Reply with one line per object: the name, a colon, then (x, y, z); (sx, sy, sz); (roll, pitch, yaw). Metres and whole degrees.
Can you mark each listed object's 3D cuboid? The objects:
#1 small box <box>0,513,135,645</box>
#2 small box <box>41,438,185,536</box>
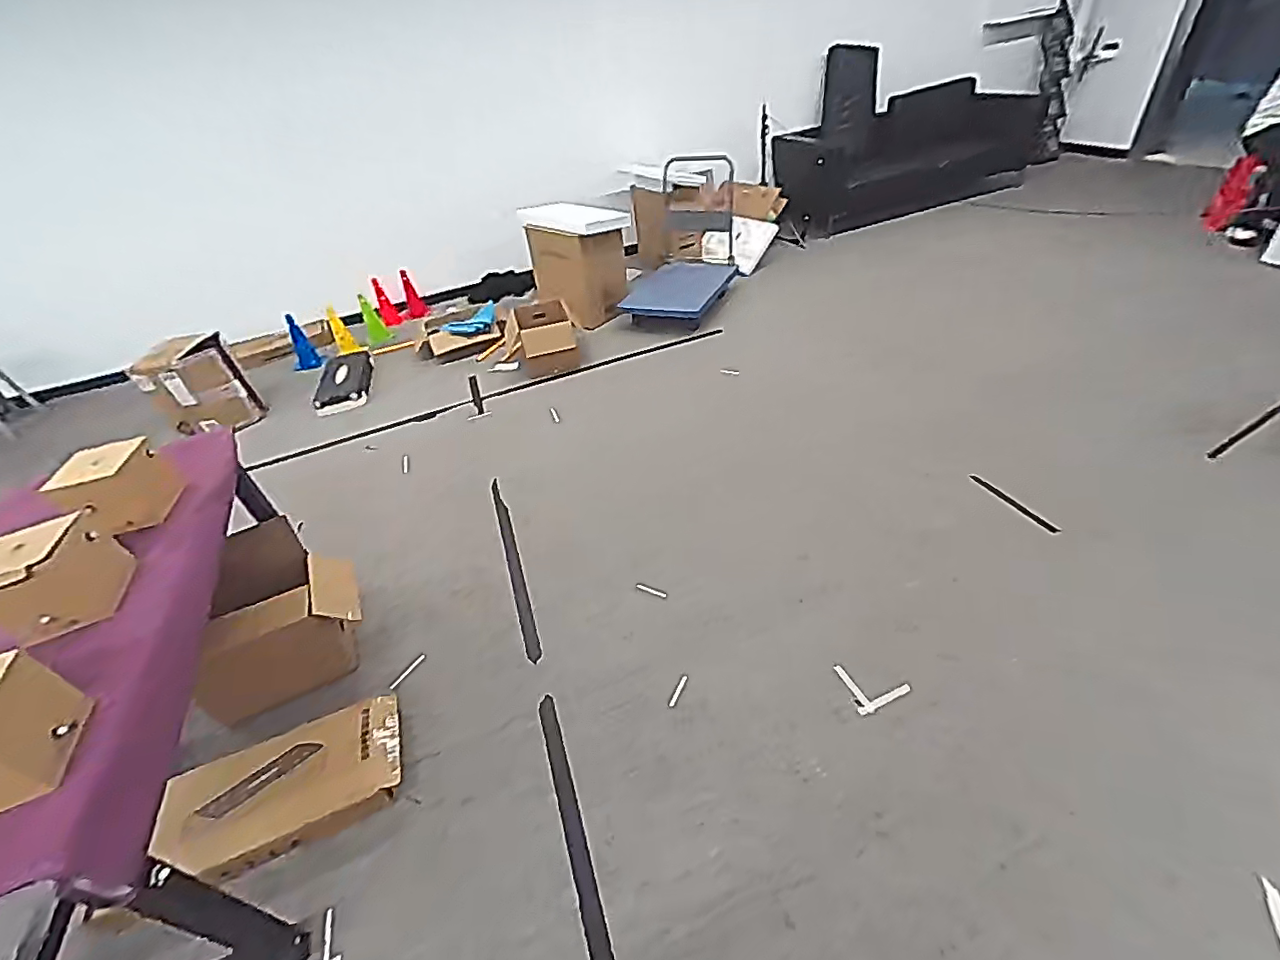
small box: (-1.210, 0.204, 1.119); (0.168, 0.176, 0.179); (-22, 40, -11)
small box: (-1.308, 0.024, 1.362); (0.168, 0.176, 0.179); (-15, 39, -7)
